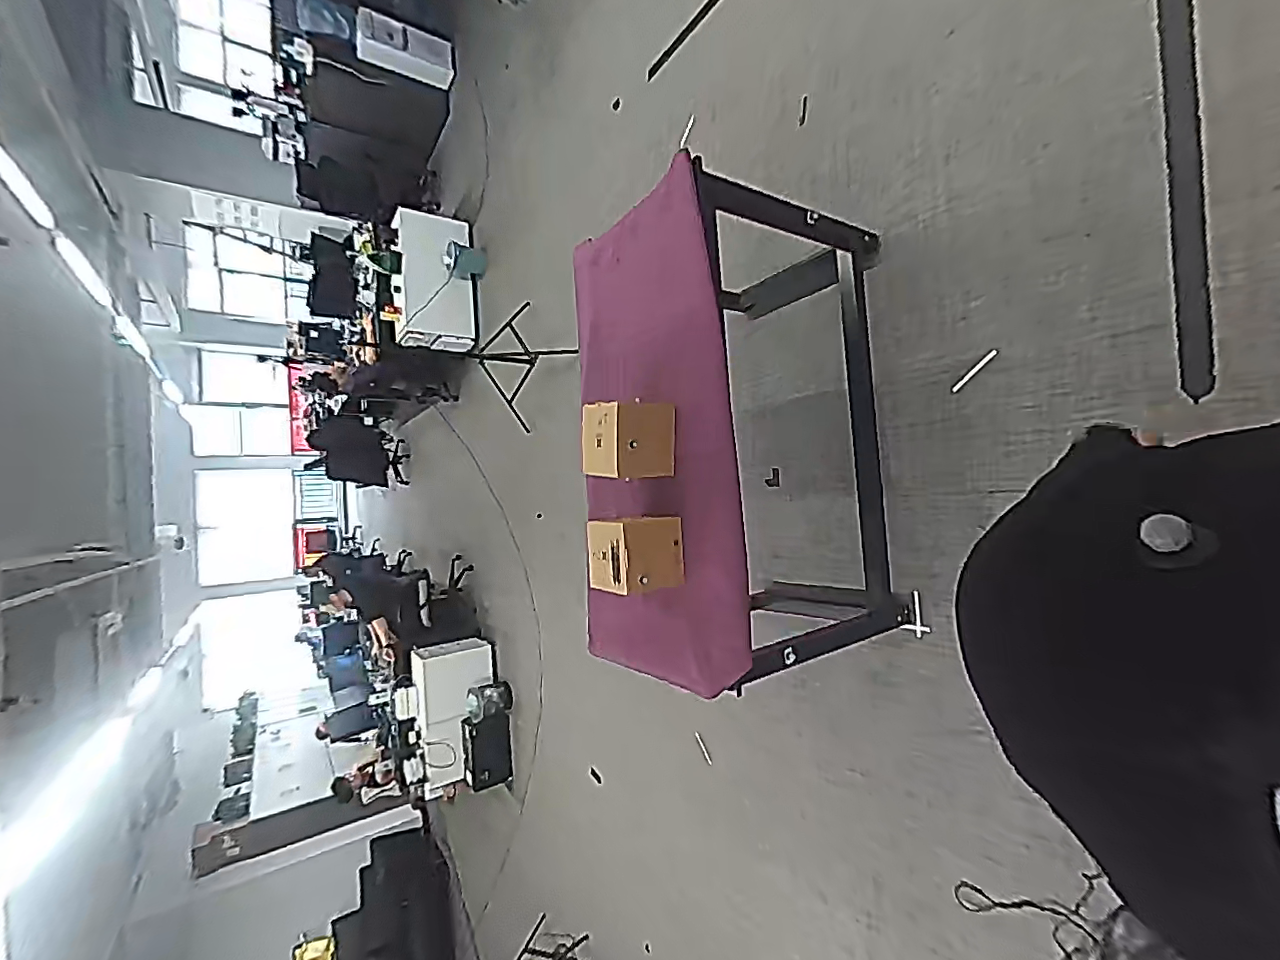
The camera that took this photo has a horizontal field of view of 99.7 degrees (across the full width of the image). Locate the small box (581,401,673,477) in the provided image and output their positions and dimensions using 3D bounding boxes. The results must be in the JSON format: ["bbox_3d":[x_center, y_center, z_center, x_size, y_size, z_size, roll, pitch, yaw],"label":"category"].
[{"bbox_3d":[-0.032,-0.102,1.328,0.168,0.176,0.179,7,98,55],"label":"small box"}]
